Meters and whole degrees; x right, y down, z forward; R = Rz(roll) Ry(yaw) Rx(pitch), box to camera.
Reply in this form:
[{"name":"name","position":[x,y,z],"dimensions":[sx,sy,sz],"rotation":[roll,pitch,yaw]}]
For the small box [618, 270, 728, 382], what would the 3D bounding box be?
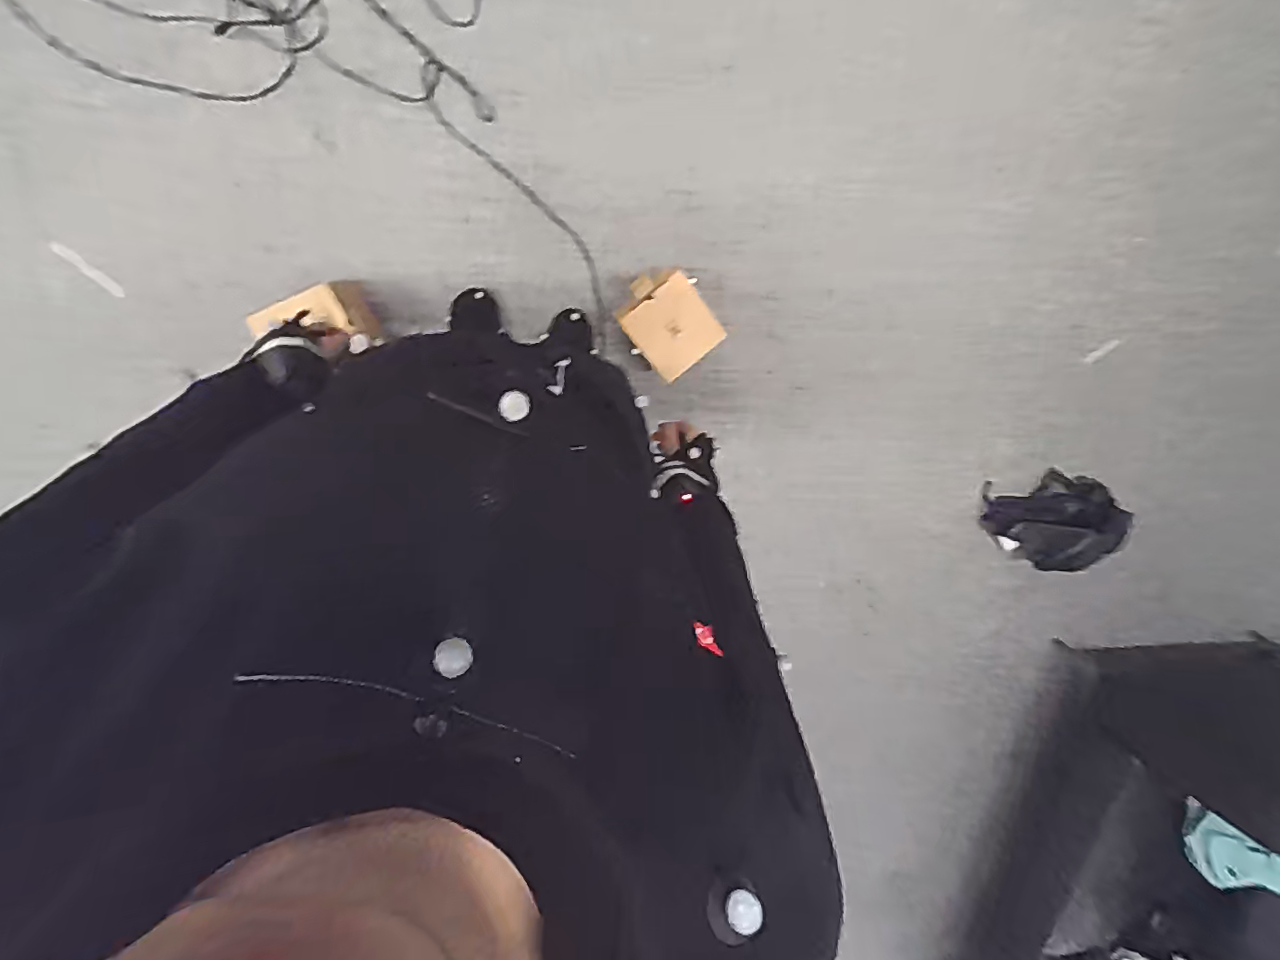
[{"name":"small box","position":[0.068,-0.352,1.215],"dimensions":[0.168,0.176,0.179],"rotation":[-38,112,8]}]
